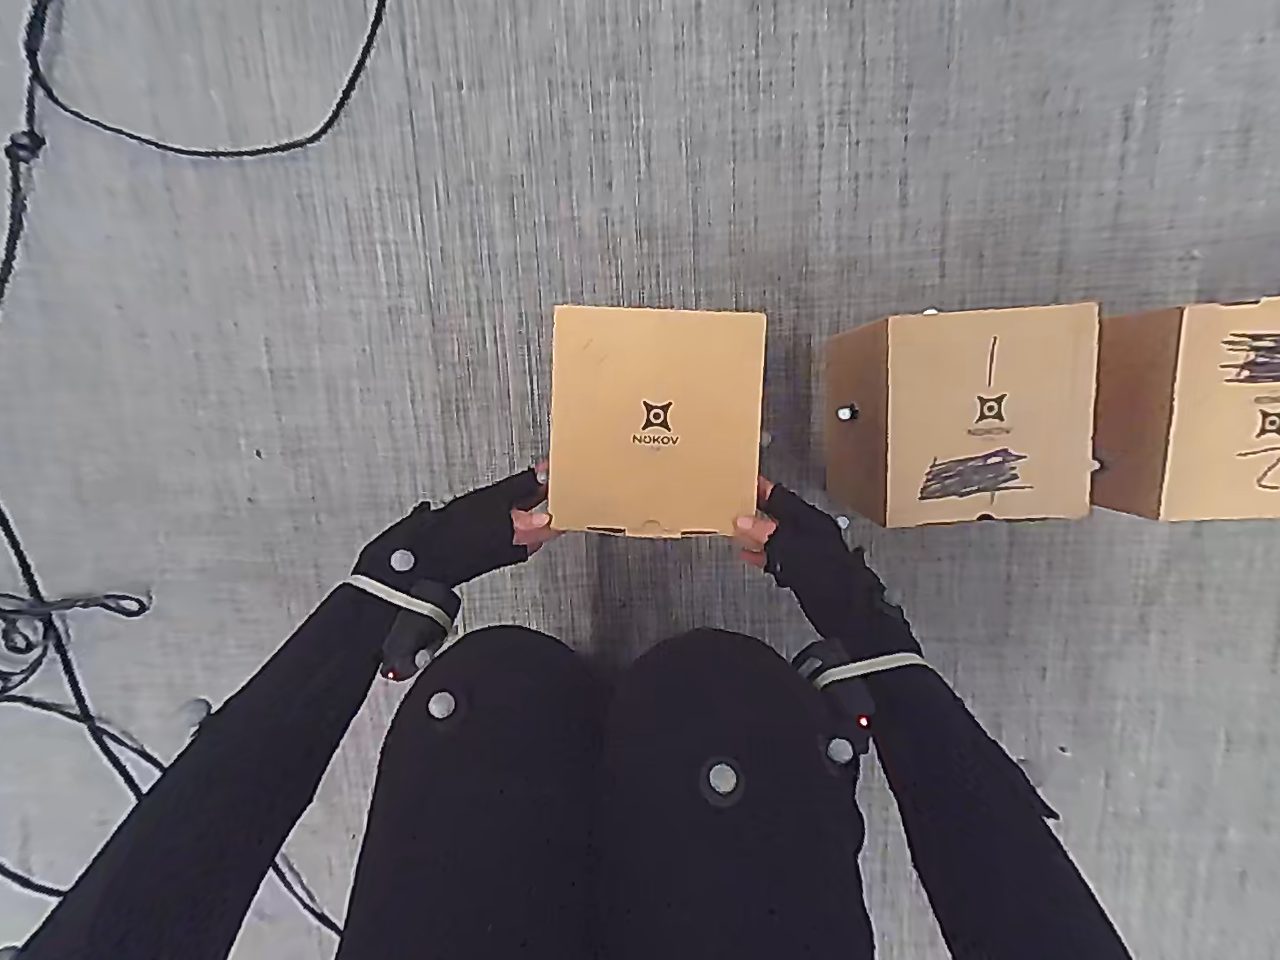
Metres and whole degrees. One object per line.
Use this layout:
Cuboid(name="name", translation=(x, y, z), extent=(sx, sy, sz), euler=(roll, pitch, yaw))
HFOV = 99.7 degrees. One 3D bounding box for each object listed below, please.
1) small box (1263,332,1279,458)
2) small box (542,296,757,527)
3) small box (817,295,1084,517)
Cuboid(name="small box", translation=(0.755, -0.087, 0.500), extent=(0.168, 0.176, 0.179), euler=(-2, 98, 2))
Cuboid(name="small box", translation=(0.004, -0.057, 0.500), extent=(0.168, 0.176, 0.179), euler=(2, 94, -2))
Cuboid(name="small box", translation=(0.275, -0.068, 0.519), extent=(0.168, 0.176, 0.179), euler=(-3, 97, 3))
